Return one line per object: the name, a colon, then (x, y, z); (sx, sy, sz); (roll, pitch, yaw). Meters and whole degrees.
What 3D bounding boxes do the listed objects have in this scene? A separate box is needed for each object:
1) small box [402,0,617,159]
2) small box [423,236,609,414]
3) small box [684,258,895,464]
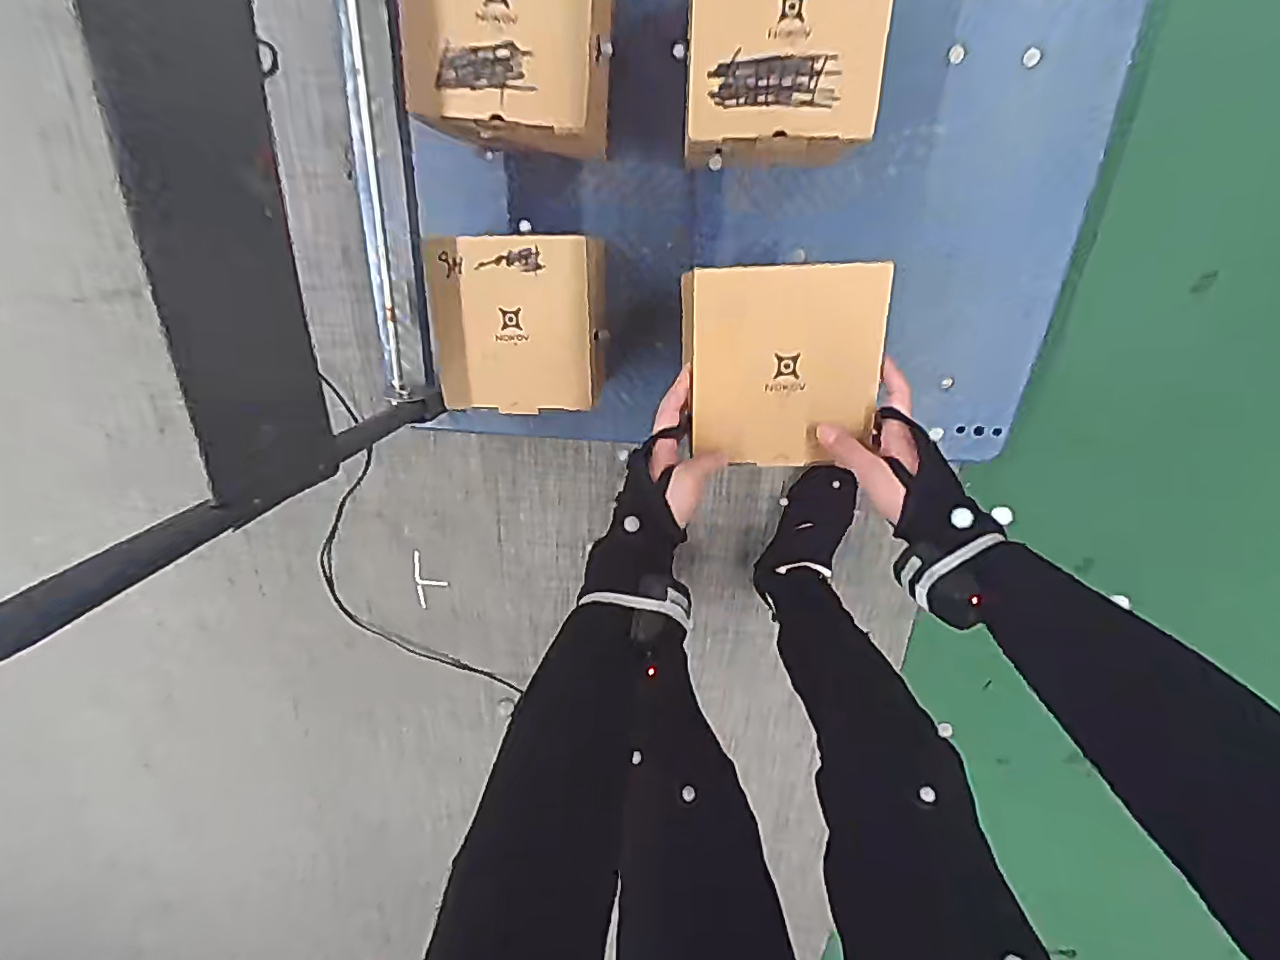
small box: (-0.115, -0.429, 0.527); (0.168, 0.176, 0.179); (6, 112, 0)
small box: (-0.126, -0.186, 0.627); (0.168, 0.176, 0.179); (2, 113, 2)
small box: (0.132, -0.126, 0.548); (0.168, 0.176, 0.179); (-1, 112, 1)
